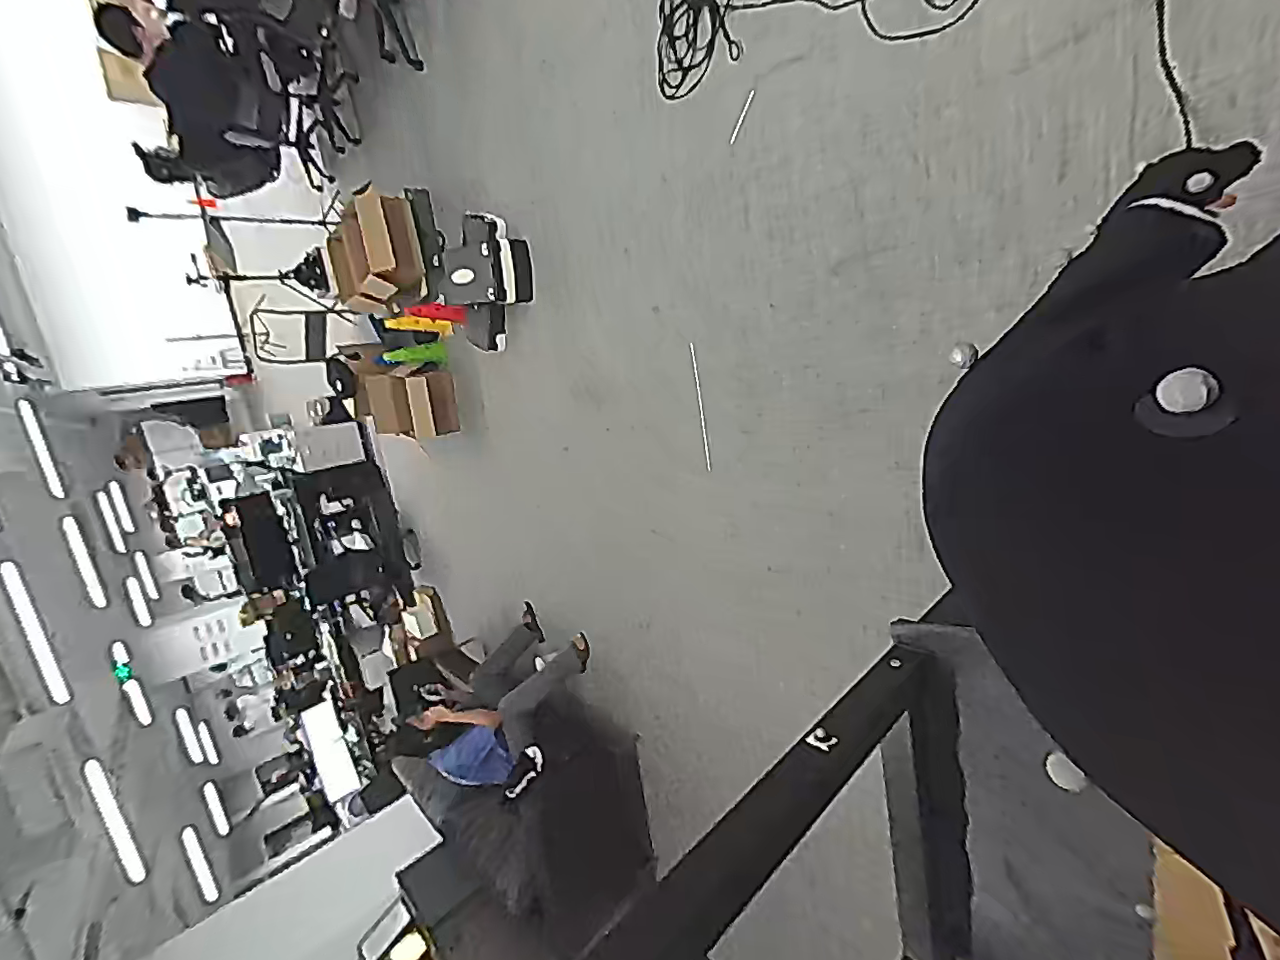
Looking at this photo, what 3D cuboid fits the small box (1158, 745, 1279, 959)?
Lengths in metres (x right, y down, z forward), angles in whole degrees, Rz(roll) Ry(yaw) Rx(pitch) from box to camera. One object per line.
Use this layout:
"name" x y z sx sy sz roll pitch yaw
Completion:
"small box" 0.624 0.403 0.520 0.168 0.176 0.179 3 107 48
